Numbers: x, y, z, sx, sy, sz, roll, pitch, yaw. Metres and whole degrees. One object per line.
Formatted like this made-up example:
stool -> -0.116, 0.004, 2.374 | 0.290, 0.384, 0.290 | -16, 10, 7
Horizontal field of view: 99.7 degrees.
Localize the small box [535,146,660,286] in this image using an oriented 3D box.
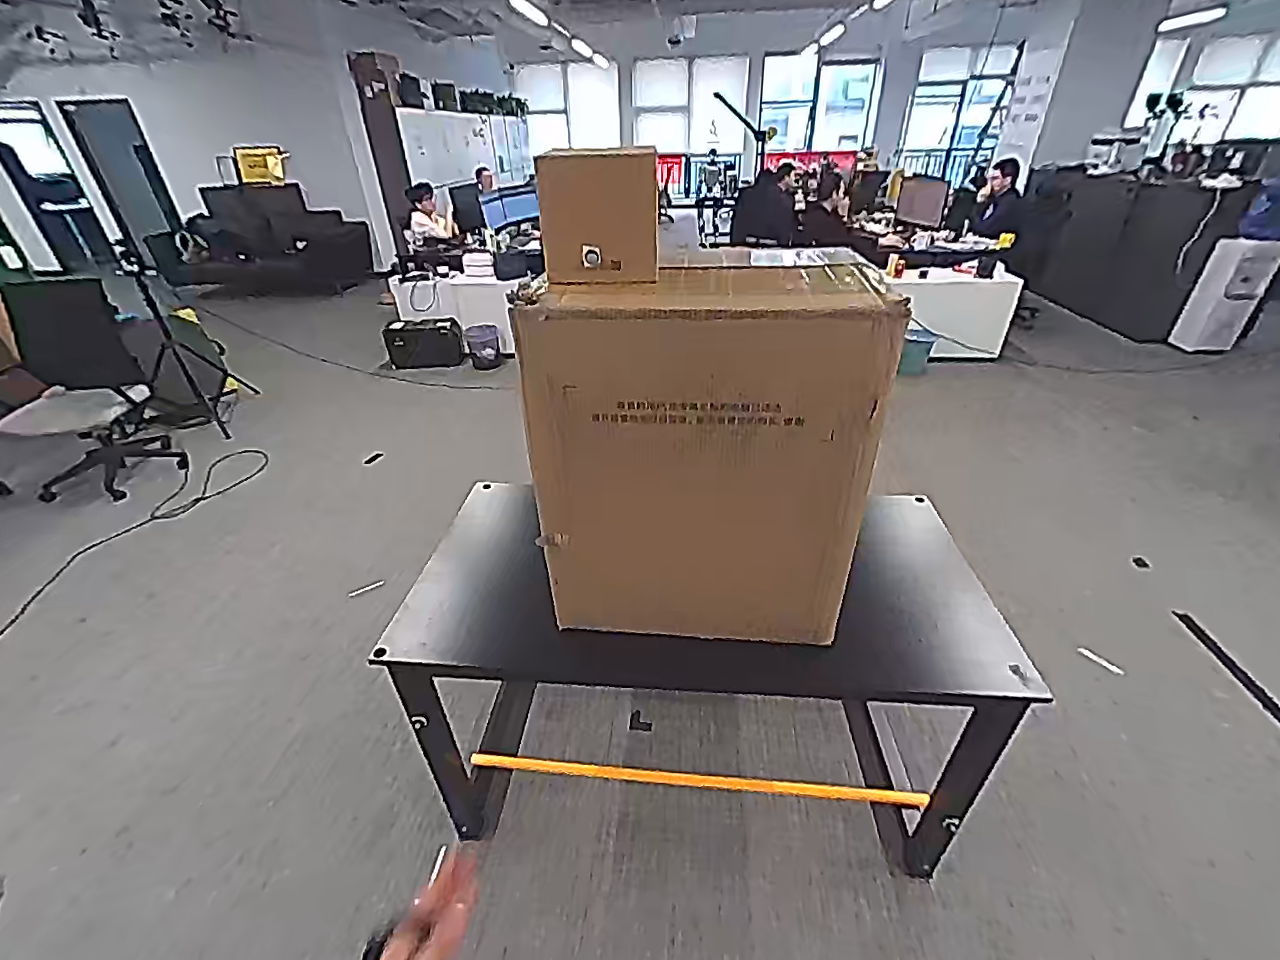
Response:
small box -> -0.055, -0.401, 0.818 | 0.168, 0.176, 0.179 | -2, 35, 1
